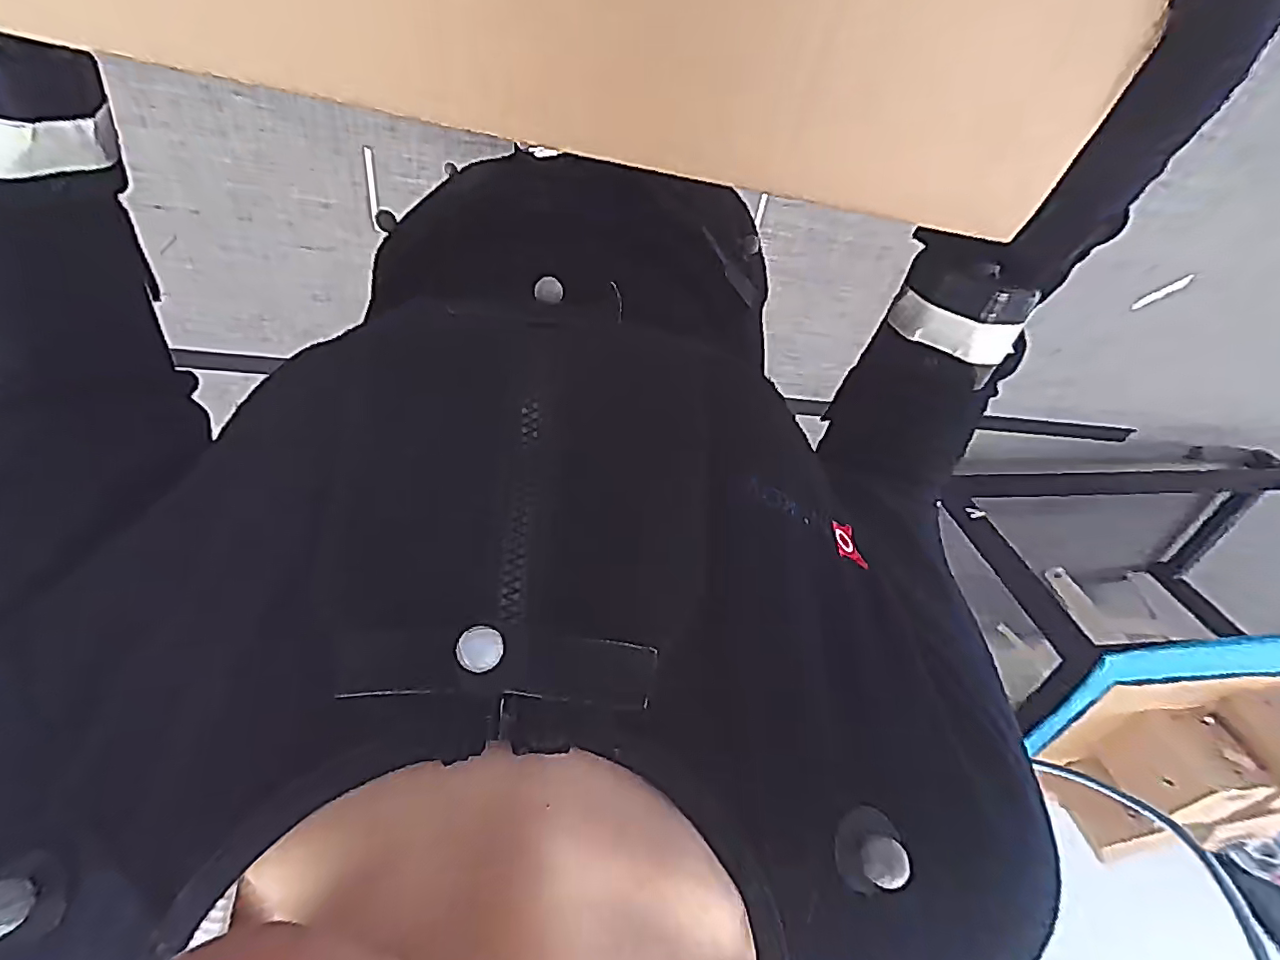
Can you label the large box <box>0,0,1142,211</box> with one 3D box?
[{"bbox_3d":[-0.007,-0.349,0.192,0.408,0.320,0.320,6,139,-10],"label":"large box"}]
